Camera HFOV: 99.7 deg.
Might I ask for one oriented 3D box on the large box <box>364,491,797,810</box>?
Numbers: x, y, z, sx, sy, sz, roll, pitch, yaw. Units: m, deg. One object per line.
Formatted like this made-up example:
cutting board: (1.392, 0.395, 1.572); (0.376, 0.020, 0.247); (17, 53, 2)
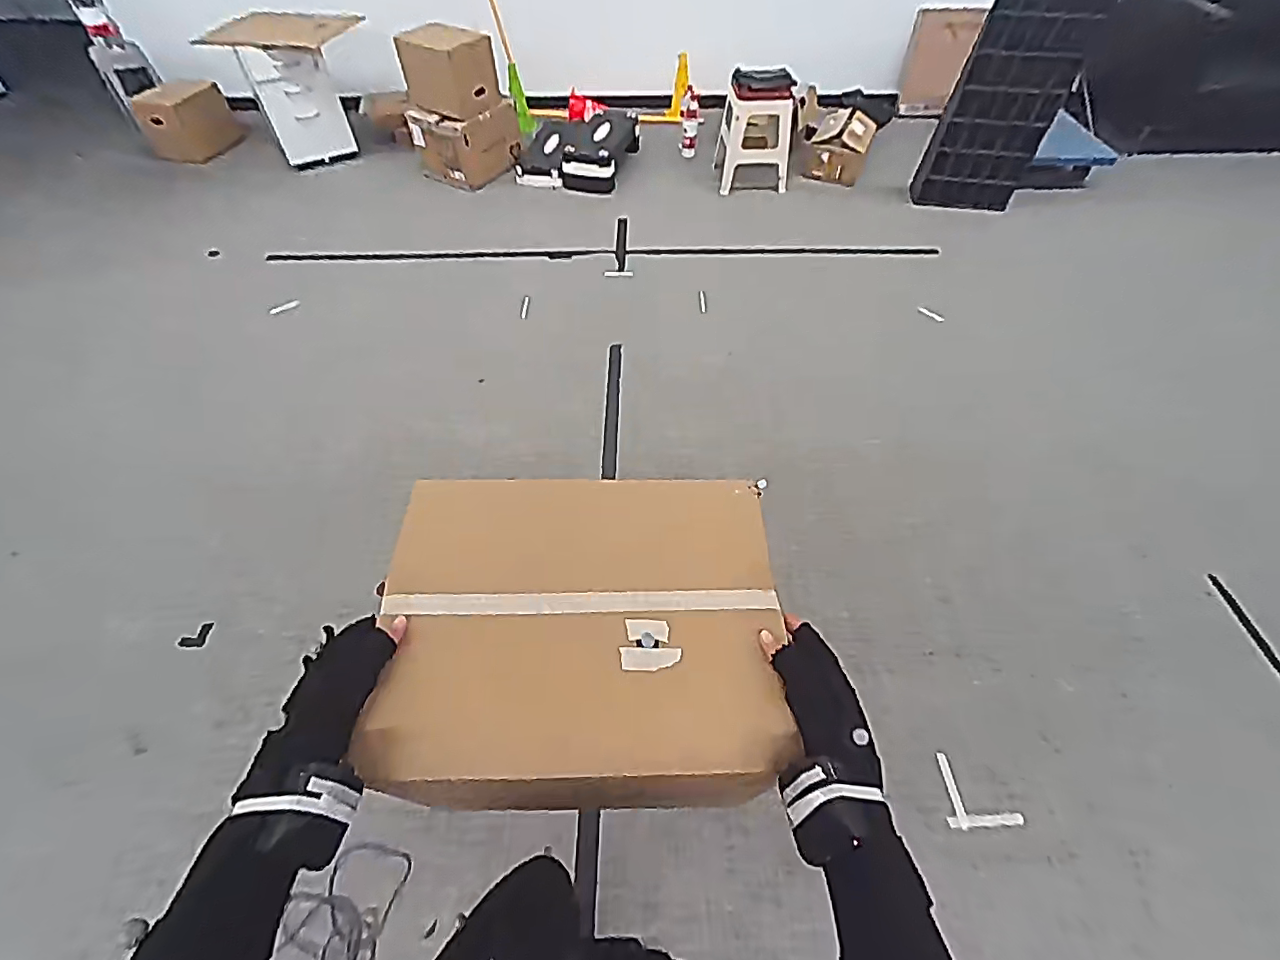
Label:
large box: (-0.062, 0.225, 0.696); (0.408, 0.320, 0.320); (0, 55, -3)
